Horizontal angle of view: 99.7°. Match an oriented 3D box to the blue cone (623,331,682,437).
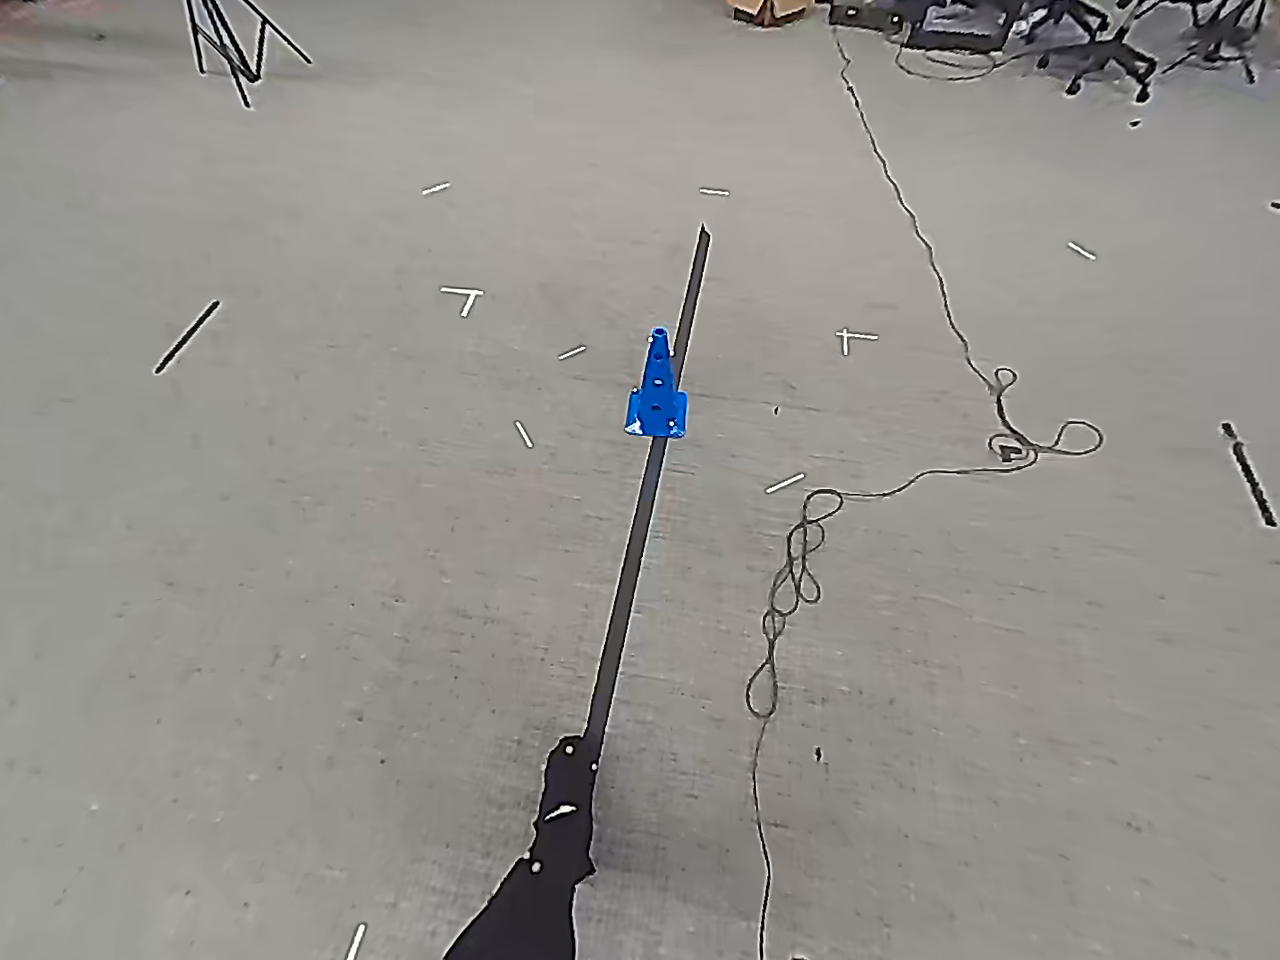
[{"bbox_3d":[0.042,-0.313,1.704,0.192,0.380,0.193,6,57,5],"label":"blue cone"}]
